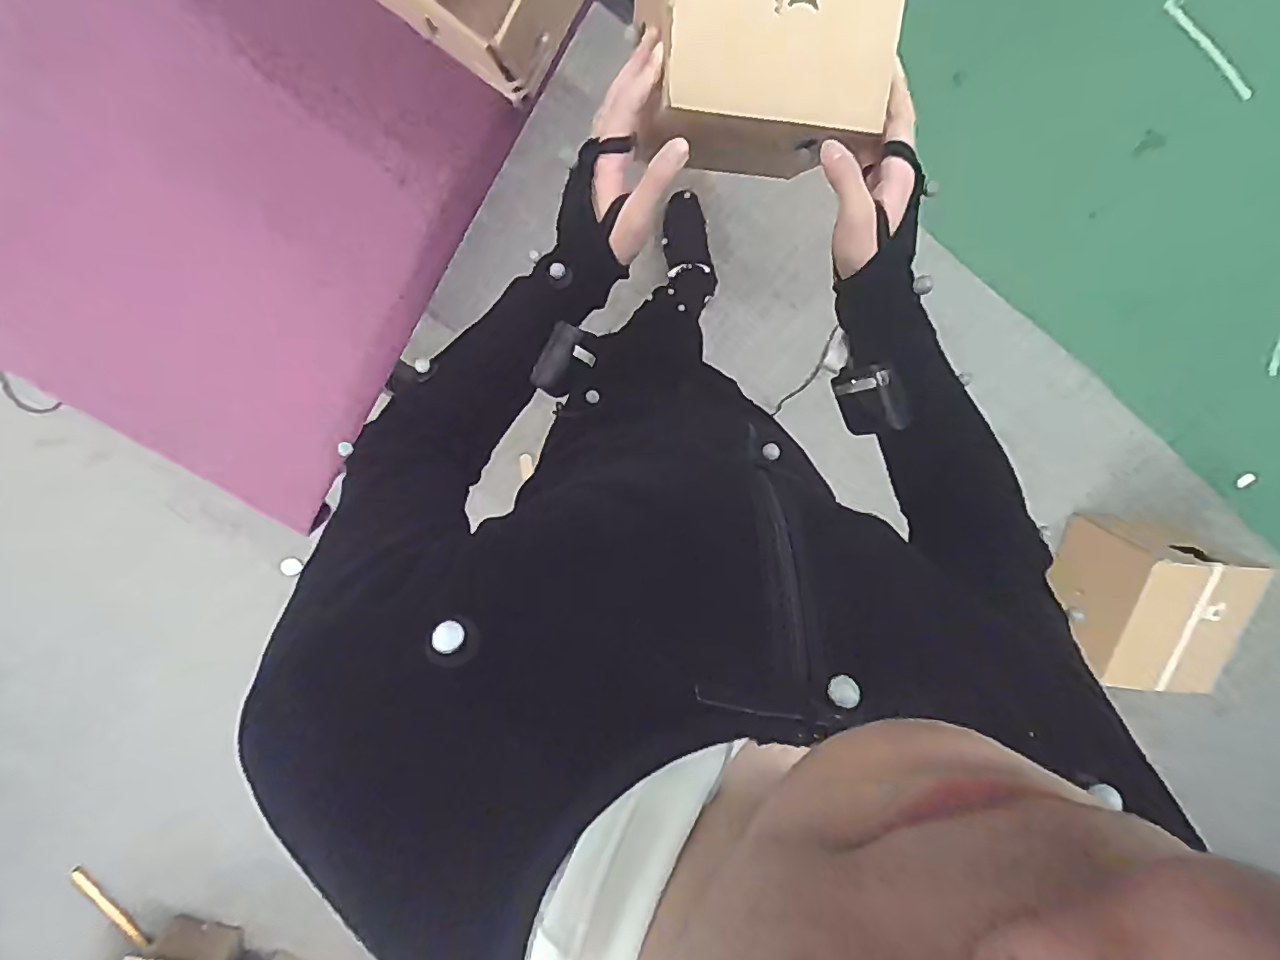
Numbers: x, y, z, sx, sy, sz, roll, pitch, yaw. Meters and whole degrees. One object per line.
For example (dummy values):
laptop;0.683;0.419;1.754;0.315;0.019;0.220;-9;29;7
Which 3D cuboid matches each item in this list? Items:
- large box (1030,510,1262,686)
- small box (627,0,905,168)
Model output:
large box;1.452;0.338;1.600;0.320;0.320;0.408;4;109;-1
small box;0.093;-0.372;0.447;0.179;0.176;0.168;0;108;-11
